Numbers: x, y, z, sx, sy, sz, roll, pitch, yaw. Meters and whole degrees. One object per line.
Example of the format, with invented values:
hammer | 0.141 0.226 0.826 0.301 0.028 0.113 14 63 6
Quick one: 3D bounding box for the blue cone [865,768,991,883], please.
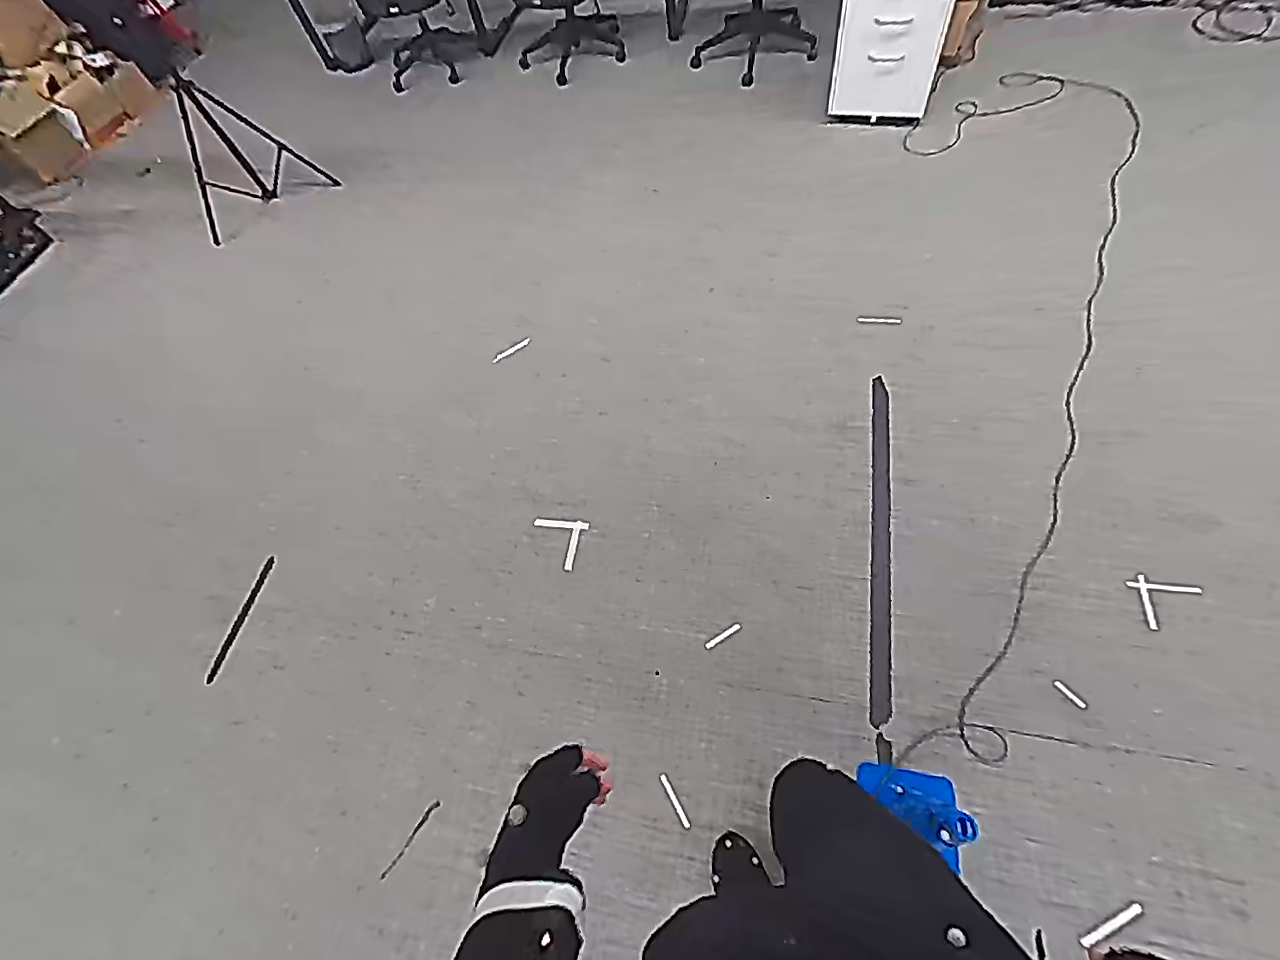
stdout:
blue cone | 0.552 0.638 0.998 0.193 0.380 0.192 5 61 12
